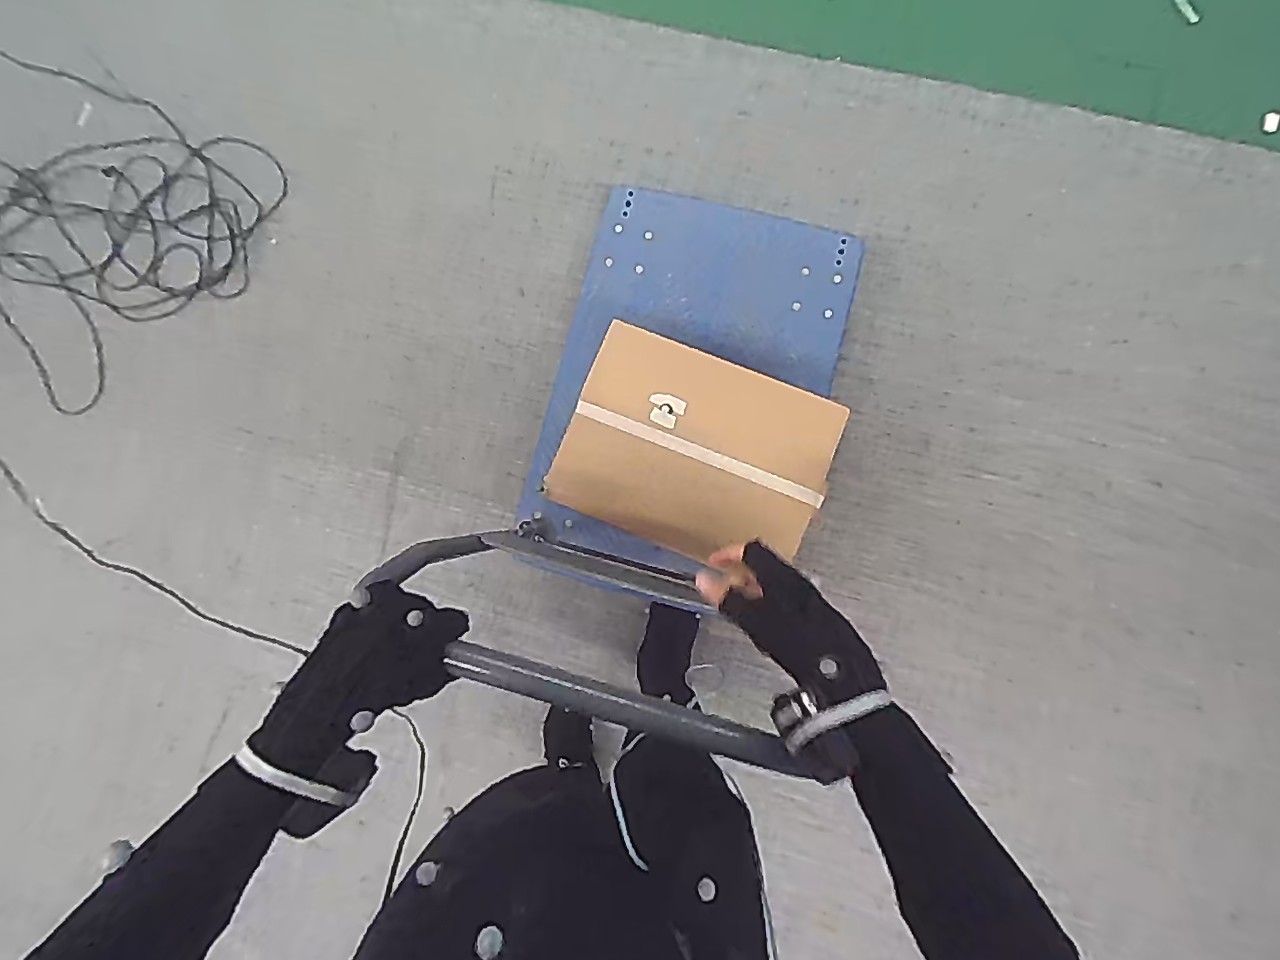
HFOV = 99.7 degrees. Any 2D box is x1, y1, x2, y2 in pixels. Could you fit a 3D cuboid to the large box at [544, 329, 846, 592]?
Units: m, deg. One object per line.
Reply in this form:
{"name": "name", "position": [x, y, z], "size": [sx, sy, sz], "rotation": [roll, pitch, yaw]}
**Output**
{"name": "large box", "position": [0.097, -0.025, 0.993], "size": [0.408, 0.320, 0.320], "rotation": [22, 87, 6]}
